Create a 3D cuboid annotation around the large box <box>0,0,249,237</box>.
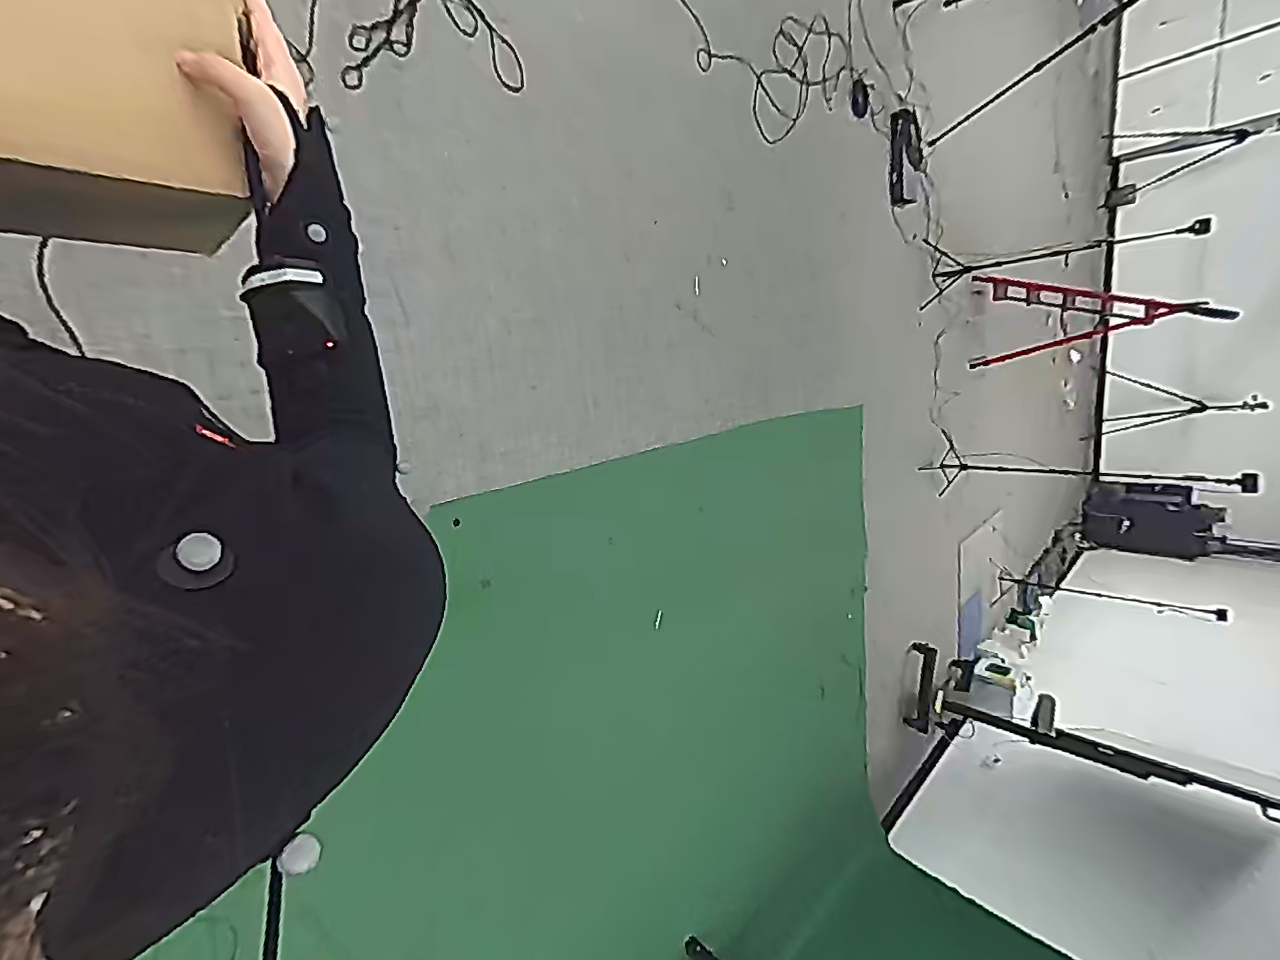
[{"bbox_3d":[-0.550,-0.367,0.365,0.408,0.320,0.320,-11,107,-40],"label":"large box"}]
